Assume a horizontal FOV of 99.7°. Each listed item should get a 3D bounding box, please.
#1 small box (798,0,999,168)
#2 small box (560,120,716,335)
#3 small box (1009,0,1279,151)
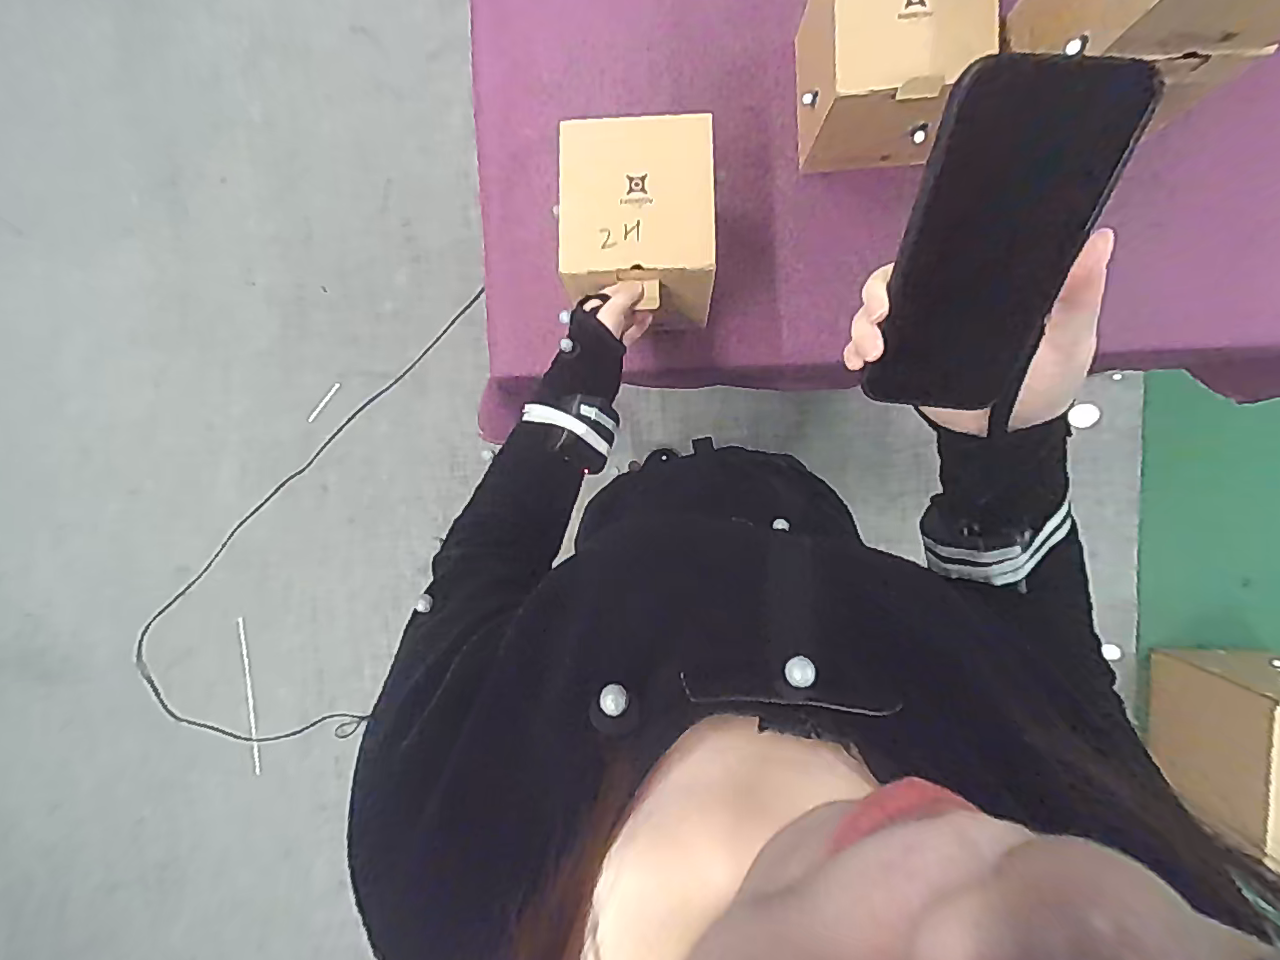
[{"bbox_3d":[0.287,-0.491,0.632,0.168,0.176,0.179,-3,93,4],"label":"small box"},{"bbox_3d":[0.002,-0.290,0.653,0.168,0.176,0.179,-1,85,4],"label":"small box"},{"bbox_3d":[0.550,-0.511,0.612,0.168,0.176,0.179,-3,94,4],"label":"small box"}]
